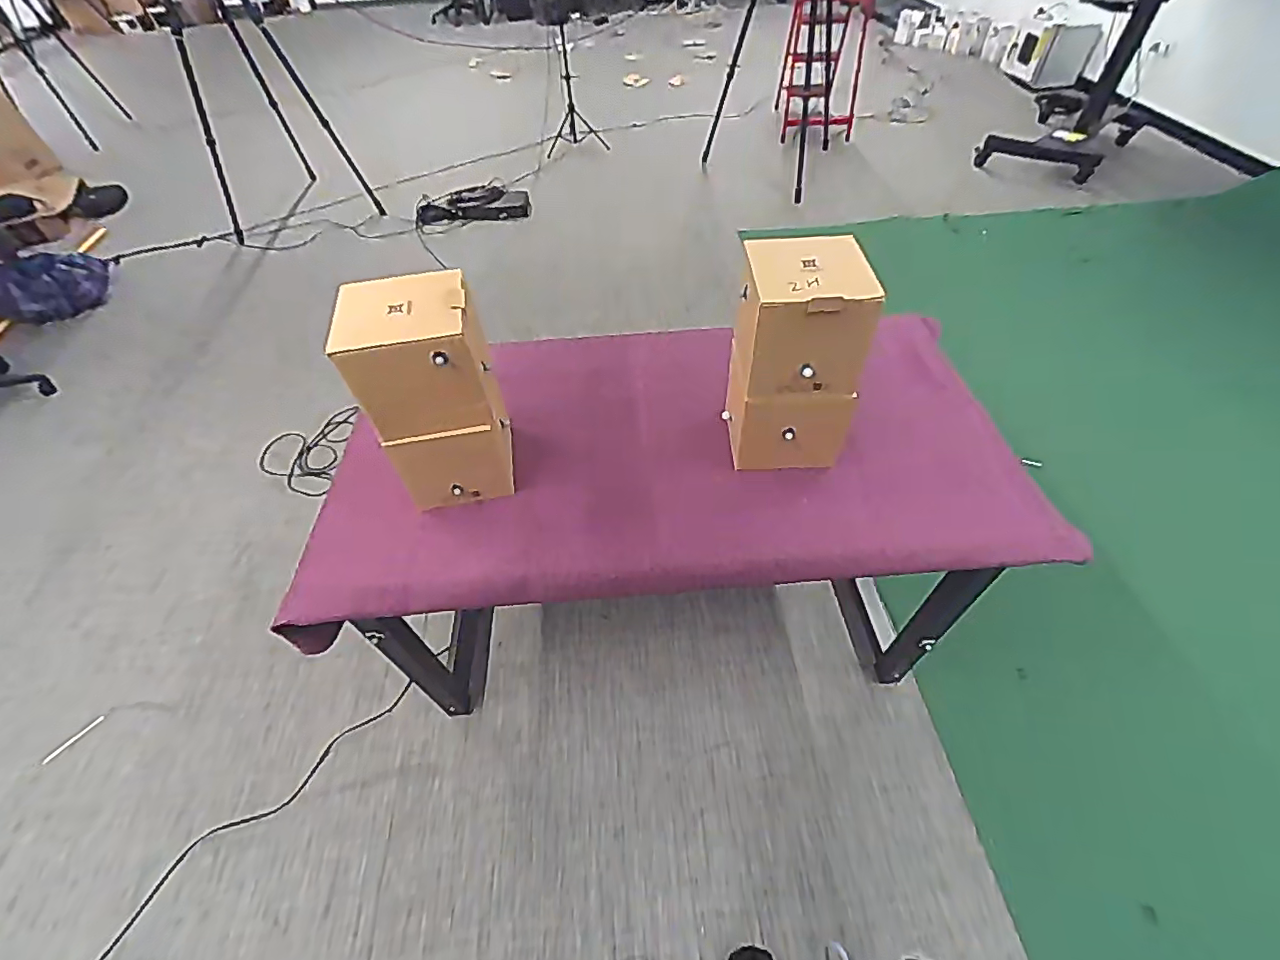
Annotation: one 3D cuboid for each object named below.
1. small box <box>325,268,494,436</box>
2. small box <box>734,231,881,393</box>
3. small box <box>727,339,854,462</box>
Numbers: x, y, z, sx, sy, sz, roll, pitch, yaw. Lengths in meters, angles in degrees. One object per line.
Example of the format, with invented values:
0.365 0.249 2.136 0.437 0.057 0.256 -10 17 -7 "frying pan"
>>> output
-0.329 -0.185 0.805 0.179 0.176 0.168 -11 52 -6 "small box"
0.238 -0.253 0.822 0.168 0.176 0.179 -3 51 3 "small box"
0.249 -0.144 0.942 0.179 0.176 0.168 0 49 4 "small box"
